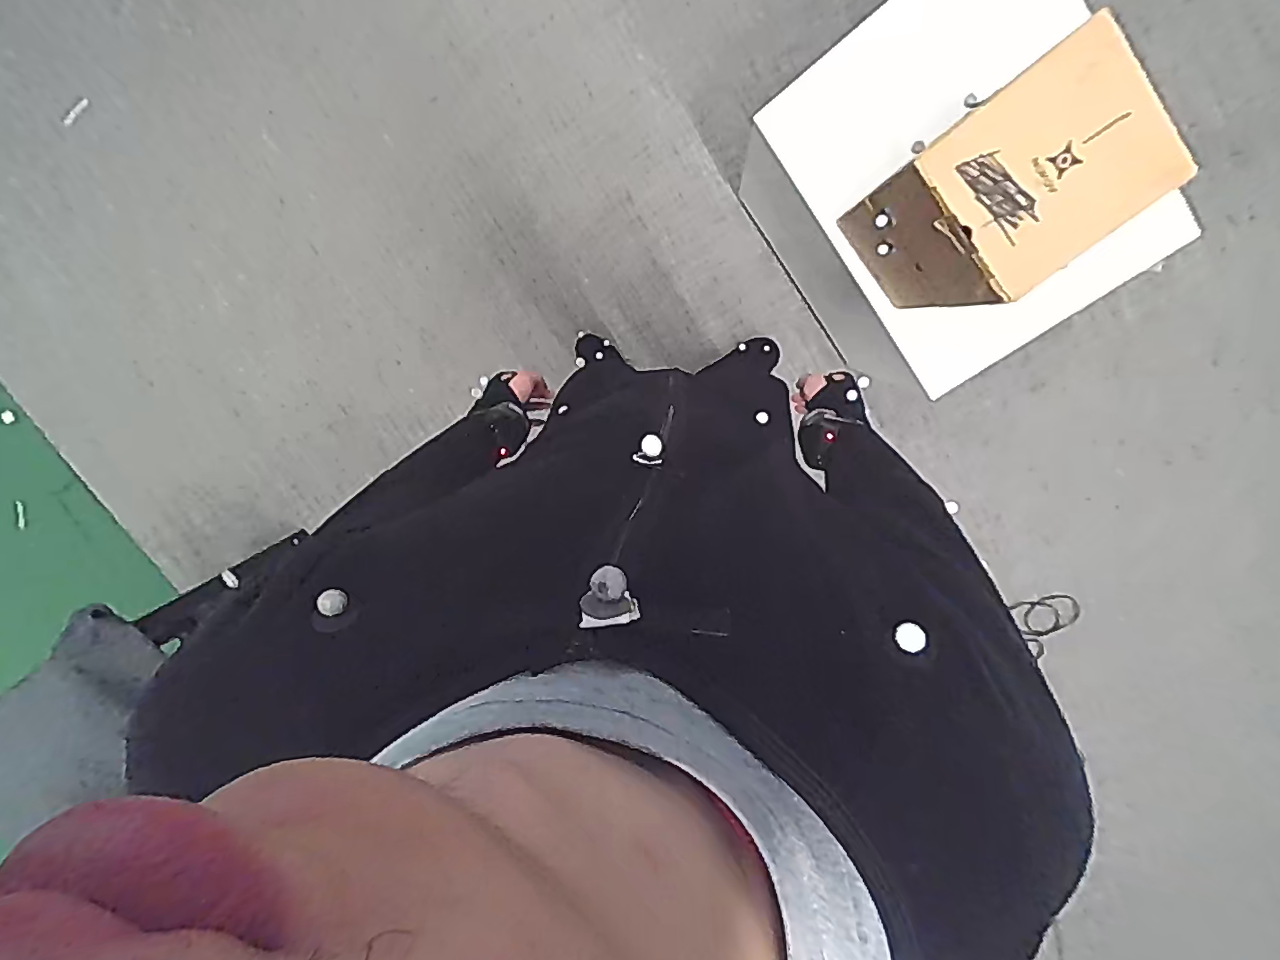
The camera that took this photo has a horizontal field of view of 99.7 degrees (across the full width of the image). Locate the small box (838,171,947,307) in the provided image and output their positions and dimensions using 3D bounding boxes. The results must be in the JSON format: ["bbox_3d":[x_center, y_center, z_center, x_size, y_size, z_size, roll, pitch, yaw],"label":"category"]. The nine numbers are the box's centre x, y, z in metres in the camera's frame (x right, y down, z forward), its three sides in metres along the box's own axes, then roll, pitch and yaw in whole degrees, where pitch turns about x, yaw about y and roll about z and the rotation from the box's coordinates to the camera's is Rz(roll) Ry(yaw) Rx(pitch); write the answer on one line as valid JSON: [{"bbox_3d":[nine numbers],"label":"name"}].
[{"bbox_3d":[0.395,-0.351,0.716,0.179,0.176,0.168,-39,97,14],"label":"small box"}]

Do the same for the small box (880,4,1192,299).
[{"bbox_3d":[0.376,-0.307,0.558,0.179,0.176,0.168,-38,99,14],"label":"small box"}]
